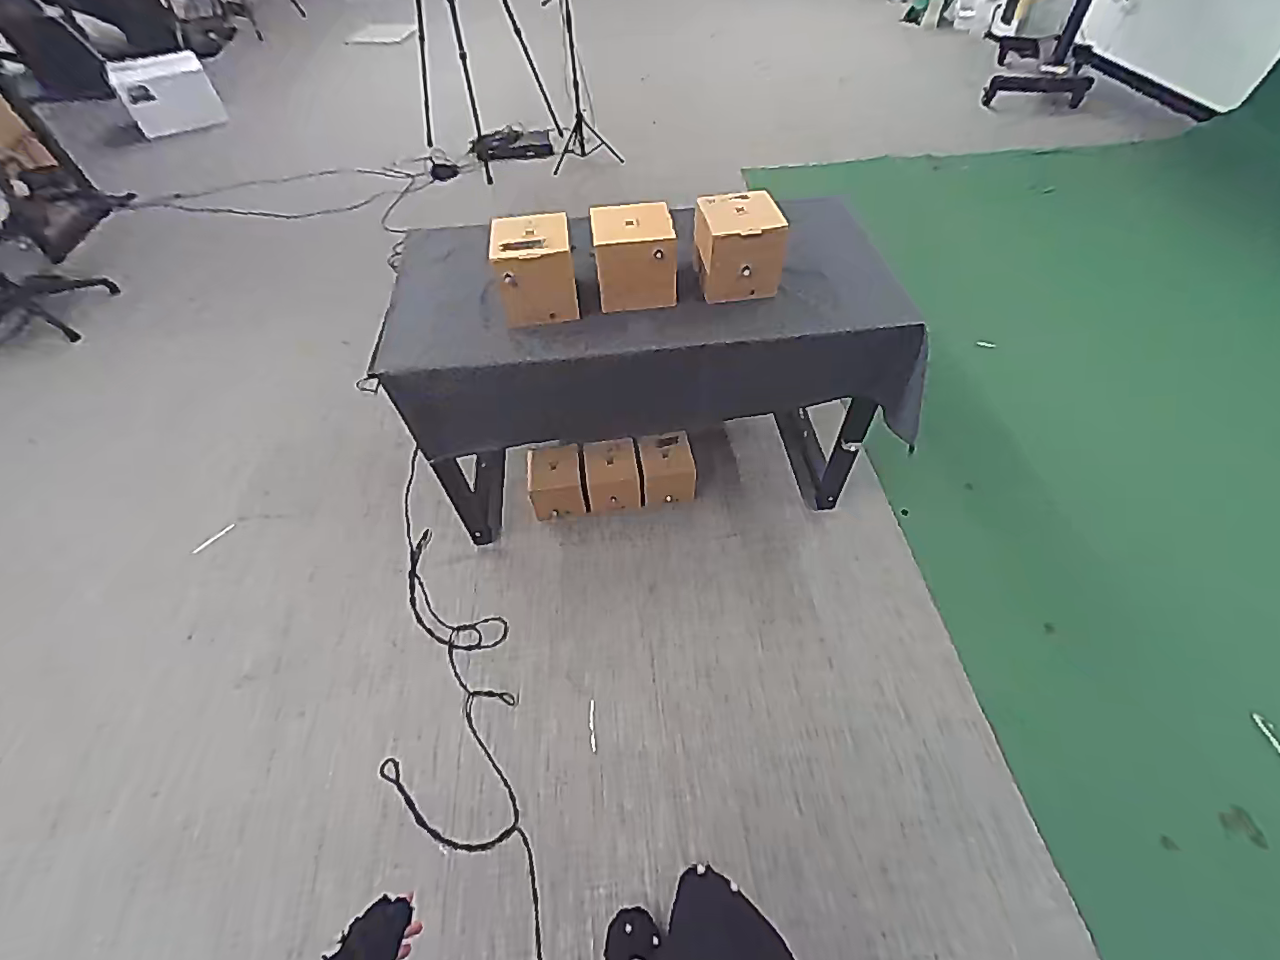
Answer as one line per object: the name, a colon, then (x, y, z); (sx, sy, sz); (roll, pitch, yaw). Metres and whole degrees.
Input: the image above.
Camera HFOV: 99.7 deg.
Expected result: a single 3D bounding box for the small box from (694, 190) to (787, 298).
small box: (0.222, -0.533, 1.240); (0.168, 0.176, 0.179); (-7, 53, -4)
